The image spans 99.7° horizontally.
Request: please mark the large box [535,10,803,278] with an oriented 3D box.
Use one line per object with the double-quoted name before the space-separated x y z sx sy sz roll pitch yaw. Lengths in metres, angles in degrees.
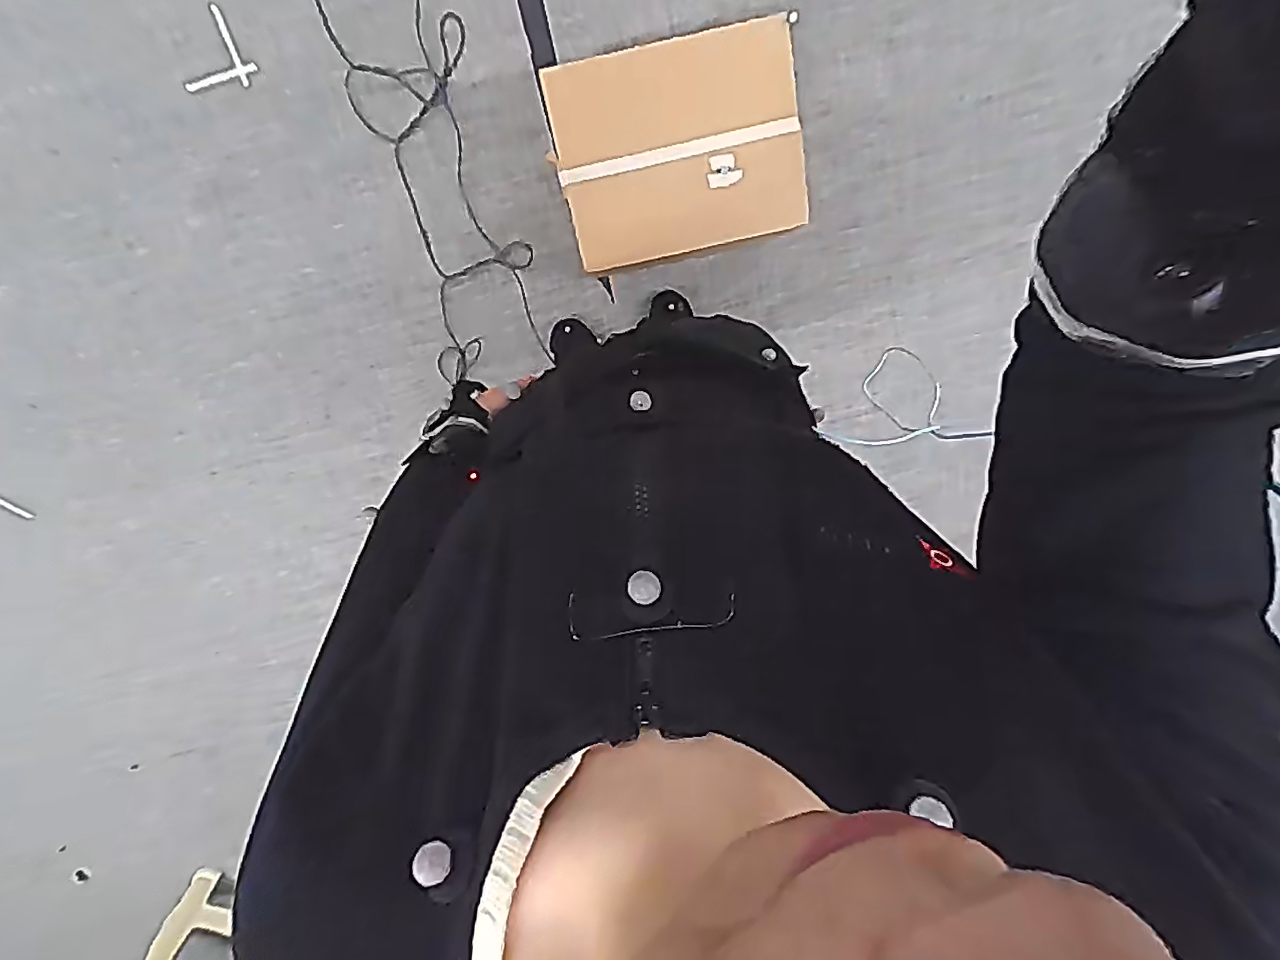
"large box" 0.049 -0.594 1.034 0.408 0.320 0.320 -12 109 1
